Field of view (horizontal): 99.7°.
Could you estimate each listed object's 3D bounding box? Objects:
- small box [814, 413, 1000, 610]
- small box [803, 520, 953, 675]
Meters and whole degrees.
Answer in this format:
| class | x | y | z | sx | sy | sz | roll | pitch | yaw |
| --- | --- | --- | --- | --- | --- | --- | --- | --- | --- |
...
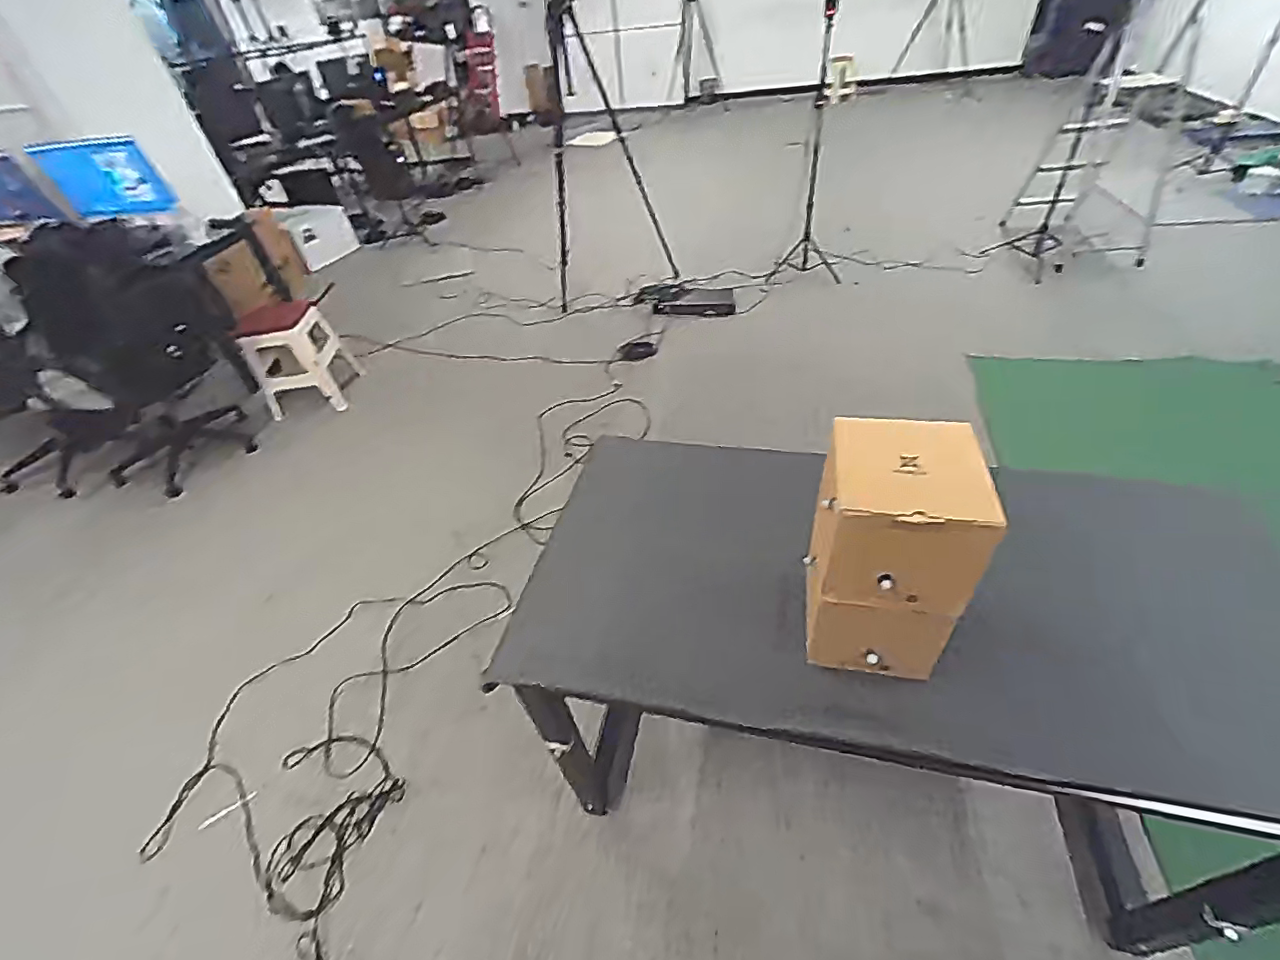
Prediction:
| class | x | y | z | sx | sy | sz | roll | pitch | yaw |
| --- | --- | --- | --- | --- | --- | --- | --- | --- | --- |
| small box | 0.316 | 0.036 | 0.685 | 0.168 | 0.176 | 0.179 | 4 | 44 | 13 |
| small box | 0.332 | 0.156 | 0.794 | 0.168 | 0.176 | 0.179 | 3 | 43 | 13 |
